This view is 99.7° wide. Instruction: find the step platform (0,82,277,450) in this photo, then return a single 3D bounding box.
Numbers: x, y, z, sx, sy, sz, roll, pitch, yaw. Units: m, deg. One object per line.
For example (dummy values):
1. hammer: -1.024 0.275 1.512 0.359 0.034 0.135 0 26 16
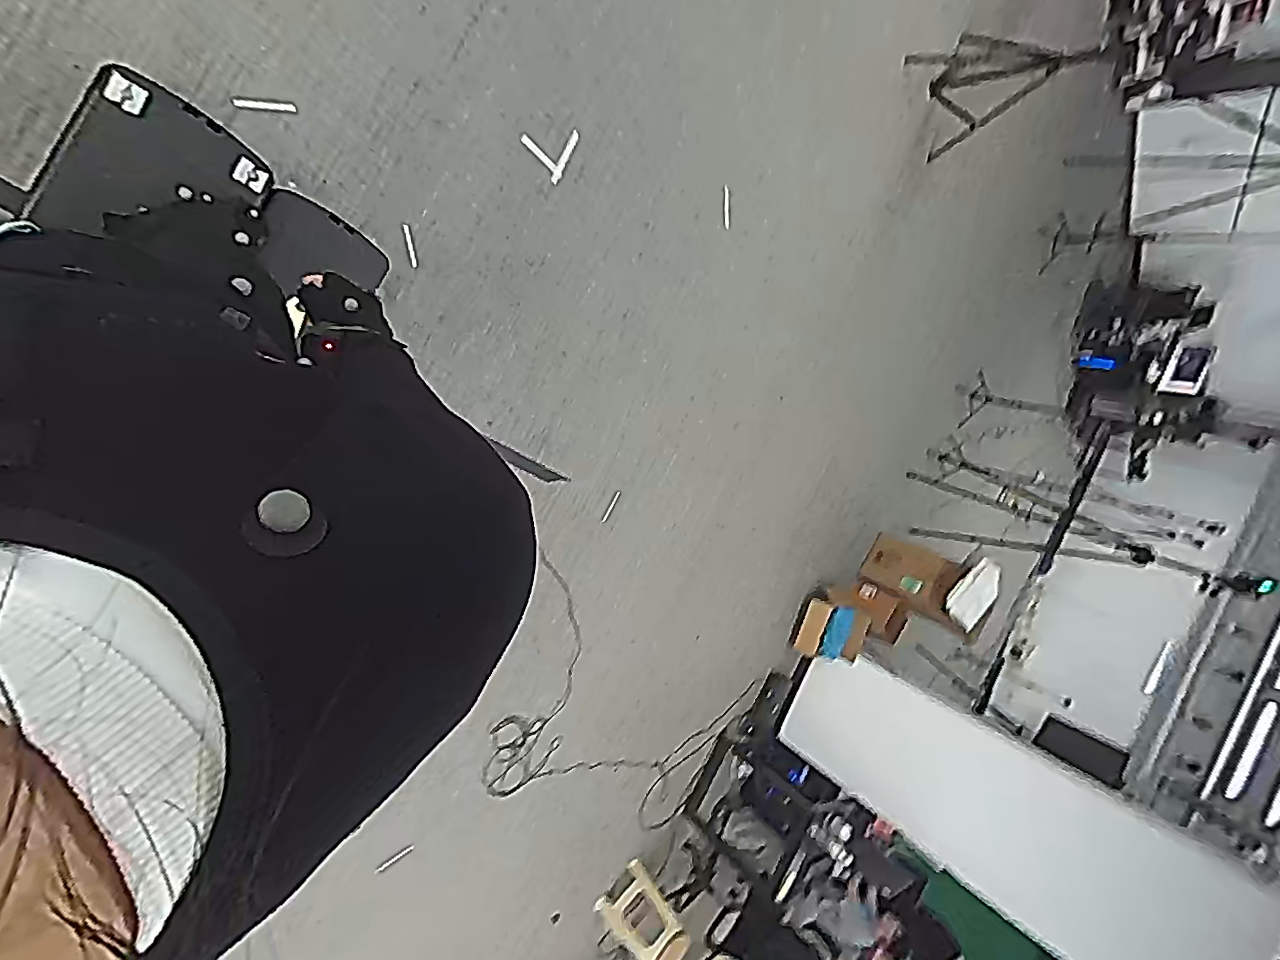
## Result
1. step platform: -1.029 -0.407 1.085 0.286 0.204 0.684 28 86 -47
